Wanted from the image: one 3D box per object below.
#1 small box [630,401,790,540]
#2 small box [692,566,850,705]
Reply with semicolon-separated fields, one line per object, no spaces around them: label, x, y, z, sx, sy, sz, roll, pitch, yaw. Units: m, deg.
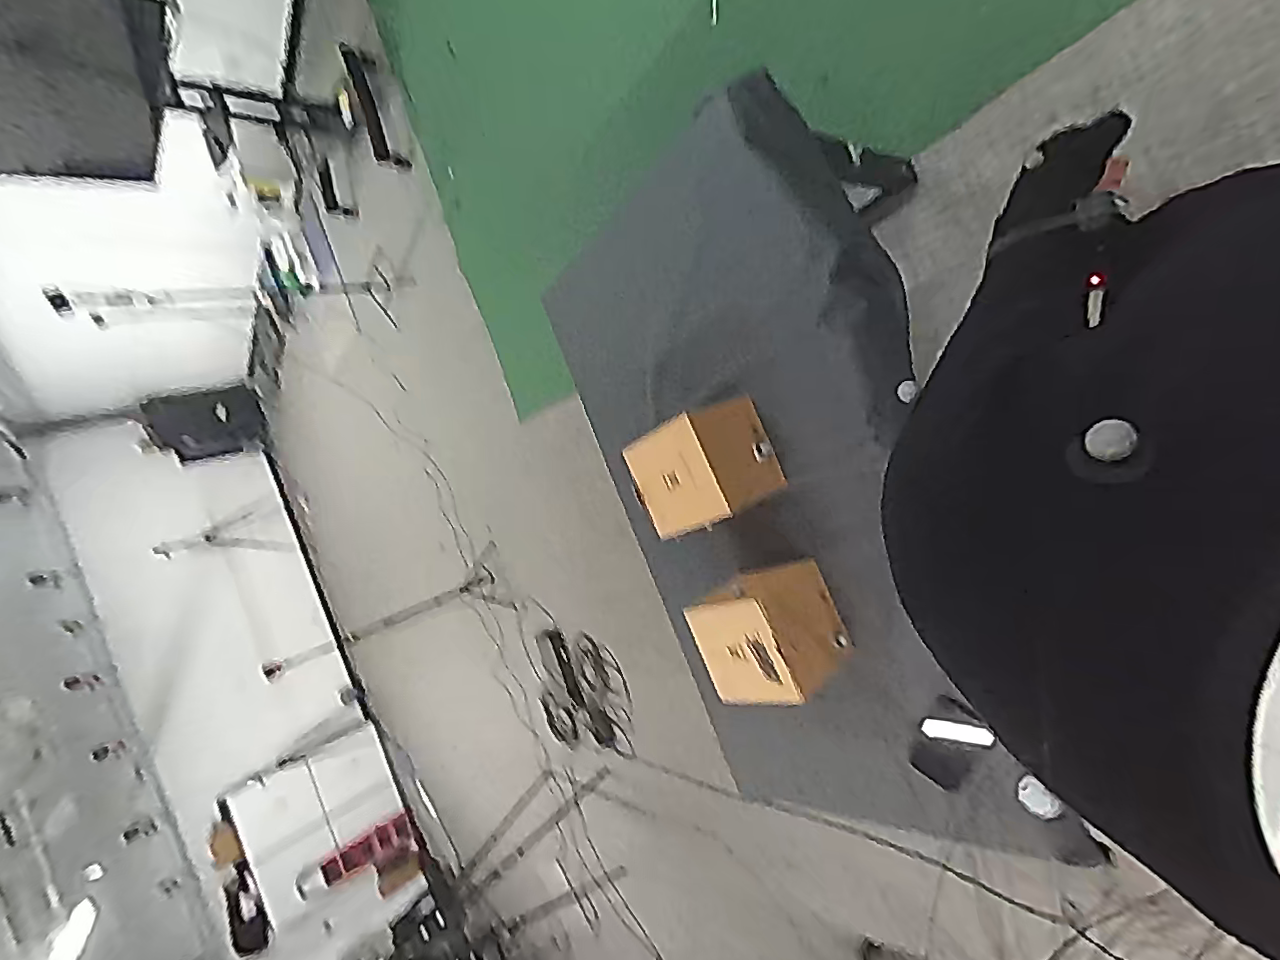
small box;0.119;-0.017;0.921;0.179;0.176;0.168;-29;84;49
small box;0.226;0.258;0.911;0.179;0.176;0.168;-28;84;50
